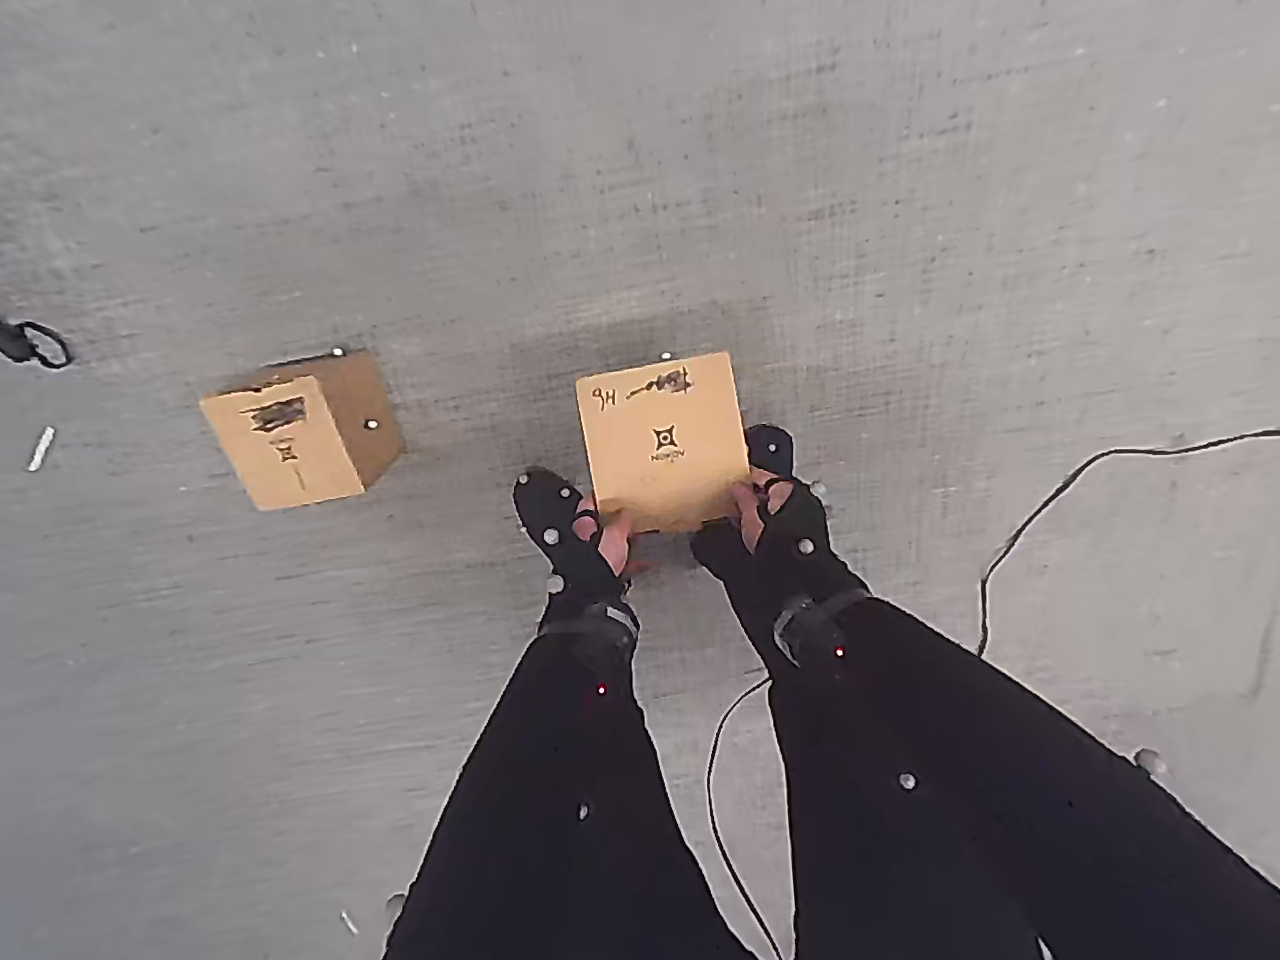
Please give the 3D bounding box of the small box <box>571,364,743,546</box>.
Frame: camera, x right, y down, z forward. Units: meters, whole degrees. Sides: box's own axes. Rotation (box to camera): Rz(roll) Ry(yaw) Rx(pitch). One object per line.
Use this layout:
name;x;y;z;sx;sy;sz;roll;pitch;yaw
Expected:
small box;0.023;-0.029;0.661;0.168;0.176;0.179;-10;91;3

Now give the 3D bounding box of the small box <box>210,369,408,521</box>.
small box;-0.490;-0.064;0.833;0.168;0.176;0.179;-10;116;4
